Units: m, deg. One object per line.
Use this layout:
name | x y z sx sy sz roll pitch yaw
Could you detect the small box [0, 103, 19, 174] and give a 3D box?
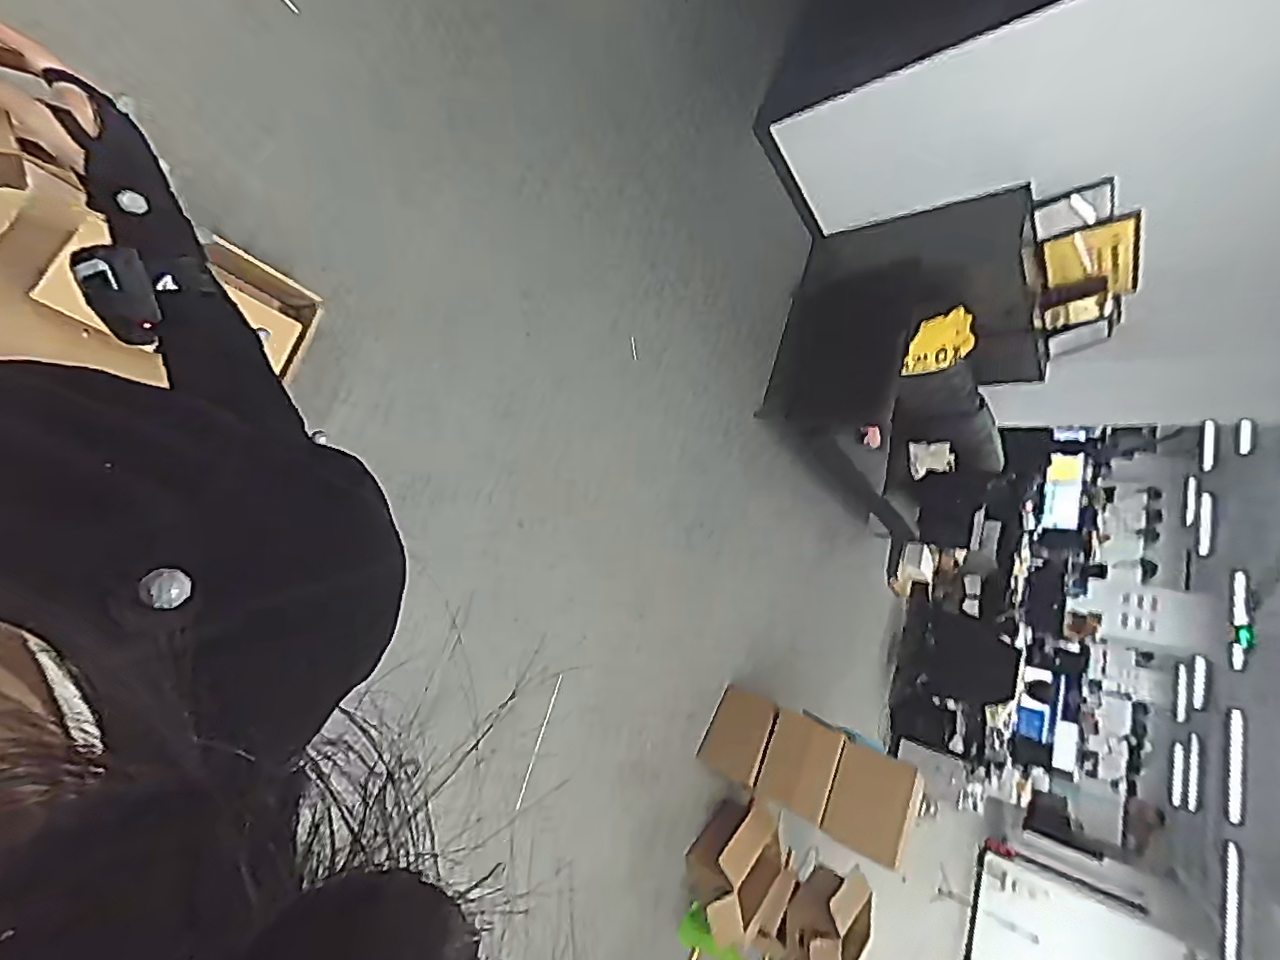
small box | -0.585 -0.322 0.371 0.179 0.176 0.168 -19 115 -43
